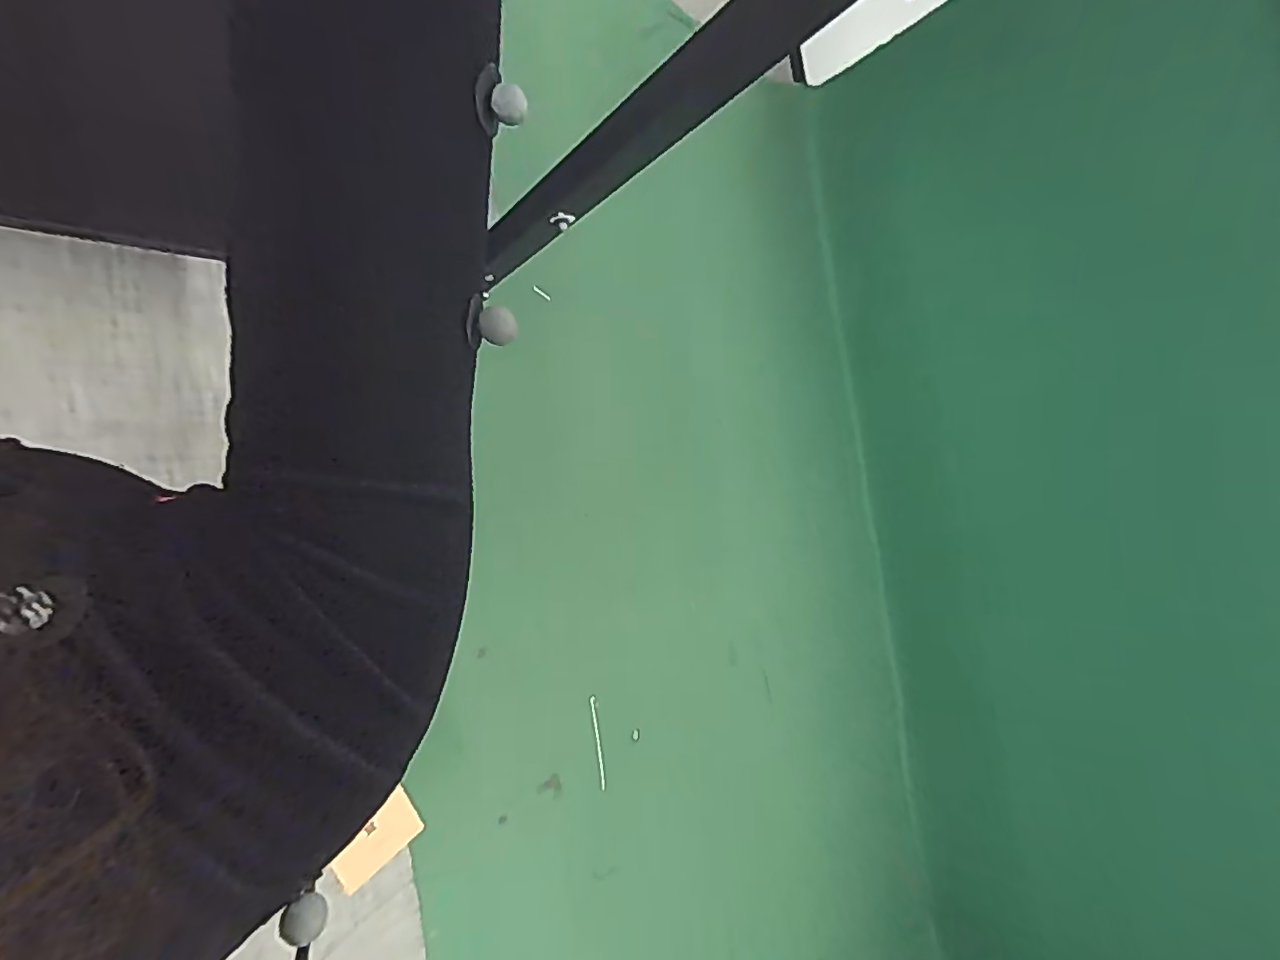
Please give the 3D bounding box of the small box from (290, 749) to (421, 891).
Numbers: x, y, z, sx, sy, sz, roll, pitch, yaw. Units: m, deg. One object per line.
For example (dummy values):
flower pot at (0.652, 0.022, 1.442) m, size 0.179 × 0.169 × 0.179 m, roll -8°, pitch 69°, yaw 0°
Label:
small box at (-0.604, 0.701, 1.142) m, size 0.168 × 0.176 × 0.179 m, roll -33°, pitch 107°, yaw -40°
